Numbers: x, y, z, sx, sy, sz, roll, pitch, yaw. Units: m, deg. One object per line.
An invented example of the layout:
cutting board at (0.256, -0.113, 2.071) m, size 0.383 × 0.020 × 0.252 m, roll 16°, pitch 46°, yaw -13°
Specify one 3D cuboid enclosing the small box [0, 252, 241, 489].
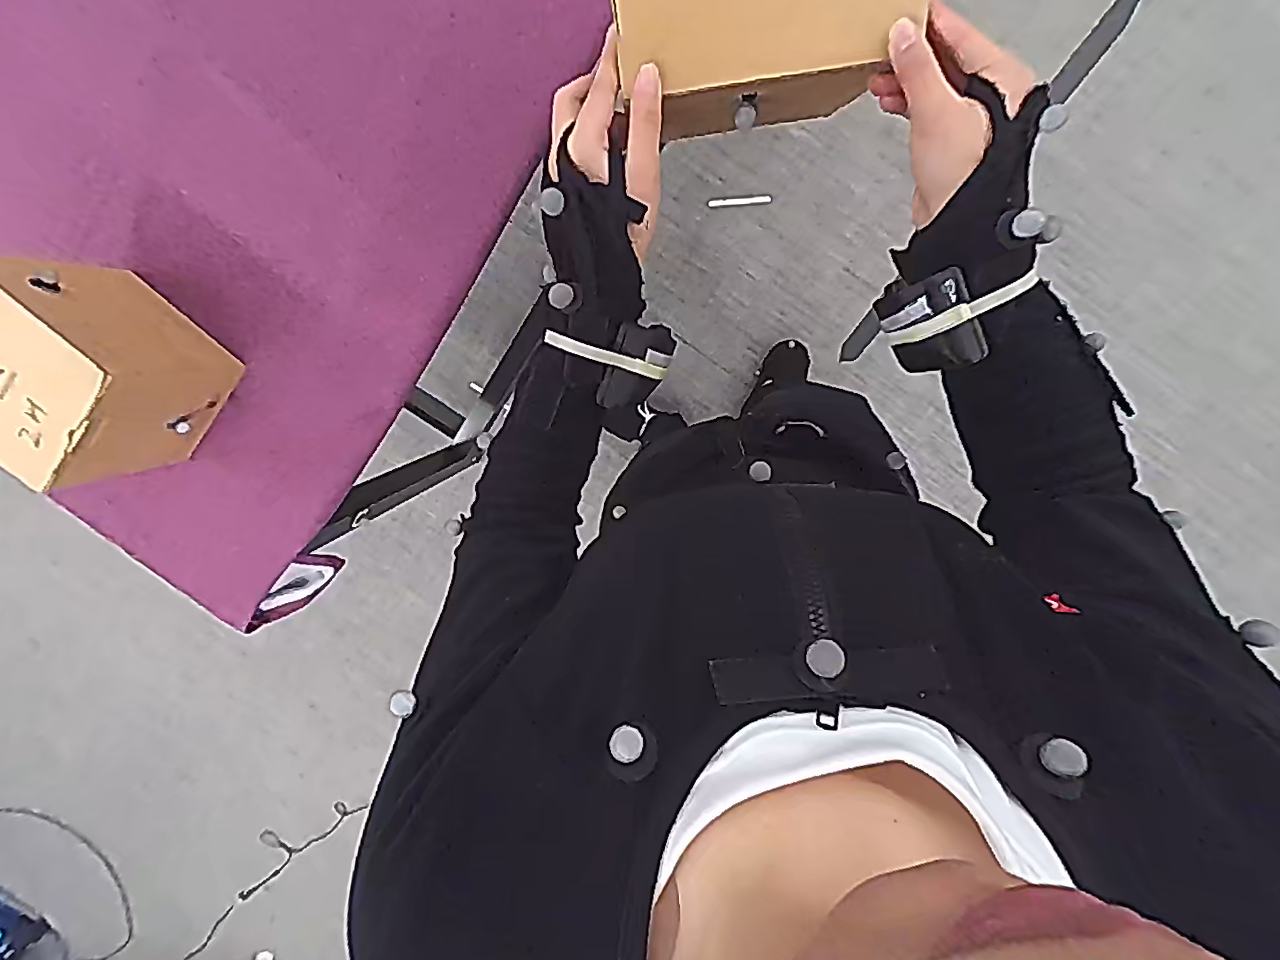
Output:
small box at (-0.611, -0.120, 0.601) m, size 0.179 × 0.176 × 0.168 m, roll 41°, pitch 104°, yaw -5°
